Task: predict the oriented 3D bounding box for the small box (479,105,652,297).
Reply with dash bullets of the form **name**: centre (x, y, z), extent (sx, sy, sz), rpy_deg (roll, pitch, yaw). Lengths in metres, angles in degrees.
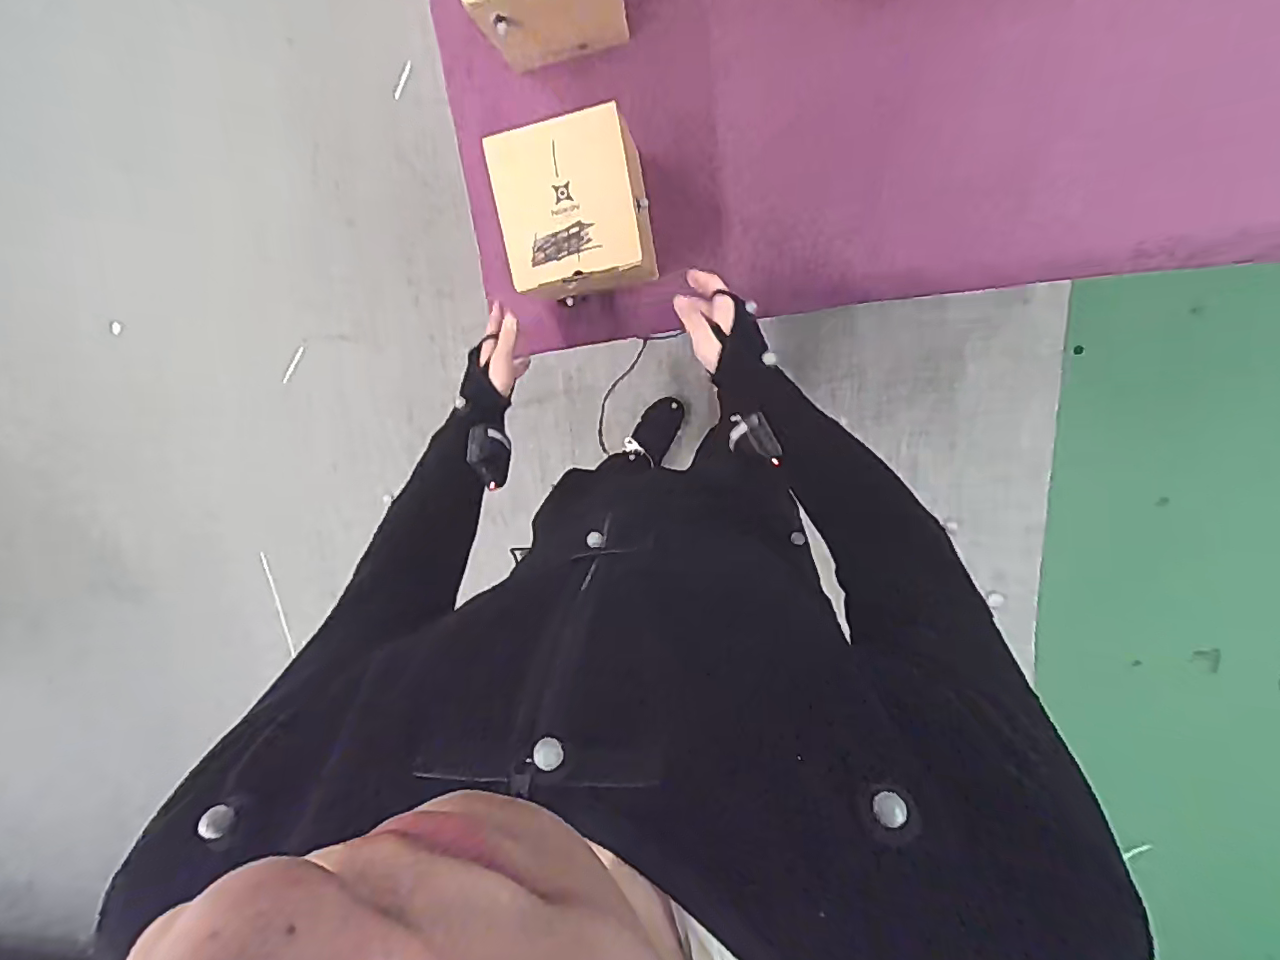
- **small box**: centre (-0.083, -0.344, 0.709), extent (0.168, 0.176, 0.179), rpy_deg (-8, 102, 9)
